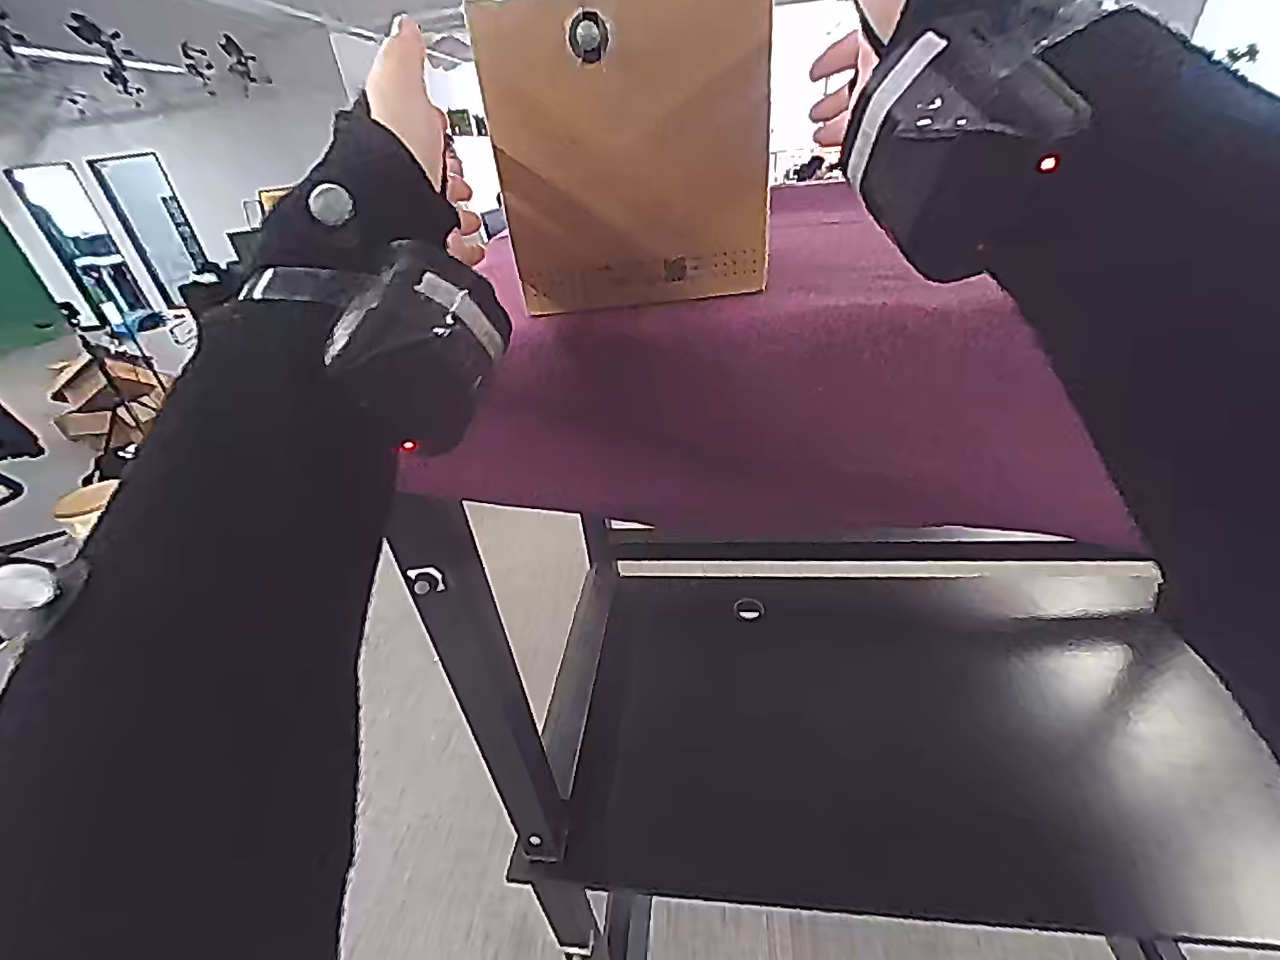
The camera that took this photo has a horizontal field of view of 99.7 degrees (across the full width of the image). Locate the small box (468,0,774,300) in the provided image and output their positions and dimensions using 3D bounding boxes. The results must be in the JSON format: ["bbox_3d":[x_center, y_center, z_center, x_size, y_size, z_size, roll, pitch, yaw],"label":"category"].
[{"bbox_3d":[-0.007,-0.236,0.393,0.168,0.176,0.179,-6,31,2],"label":"small box"}]
